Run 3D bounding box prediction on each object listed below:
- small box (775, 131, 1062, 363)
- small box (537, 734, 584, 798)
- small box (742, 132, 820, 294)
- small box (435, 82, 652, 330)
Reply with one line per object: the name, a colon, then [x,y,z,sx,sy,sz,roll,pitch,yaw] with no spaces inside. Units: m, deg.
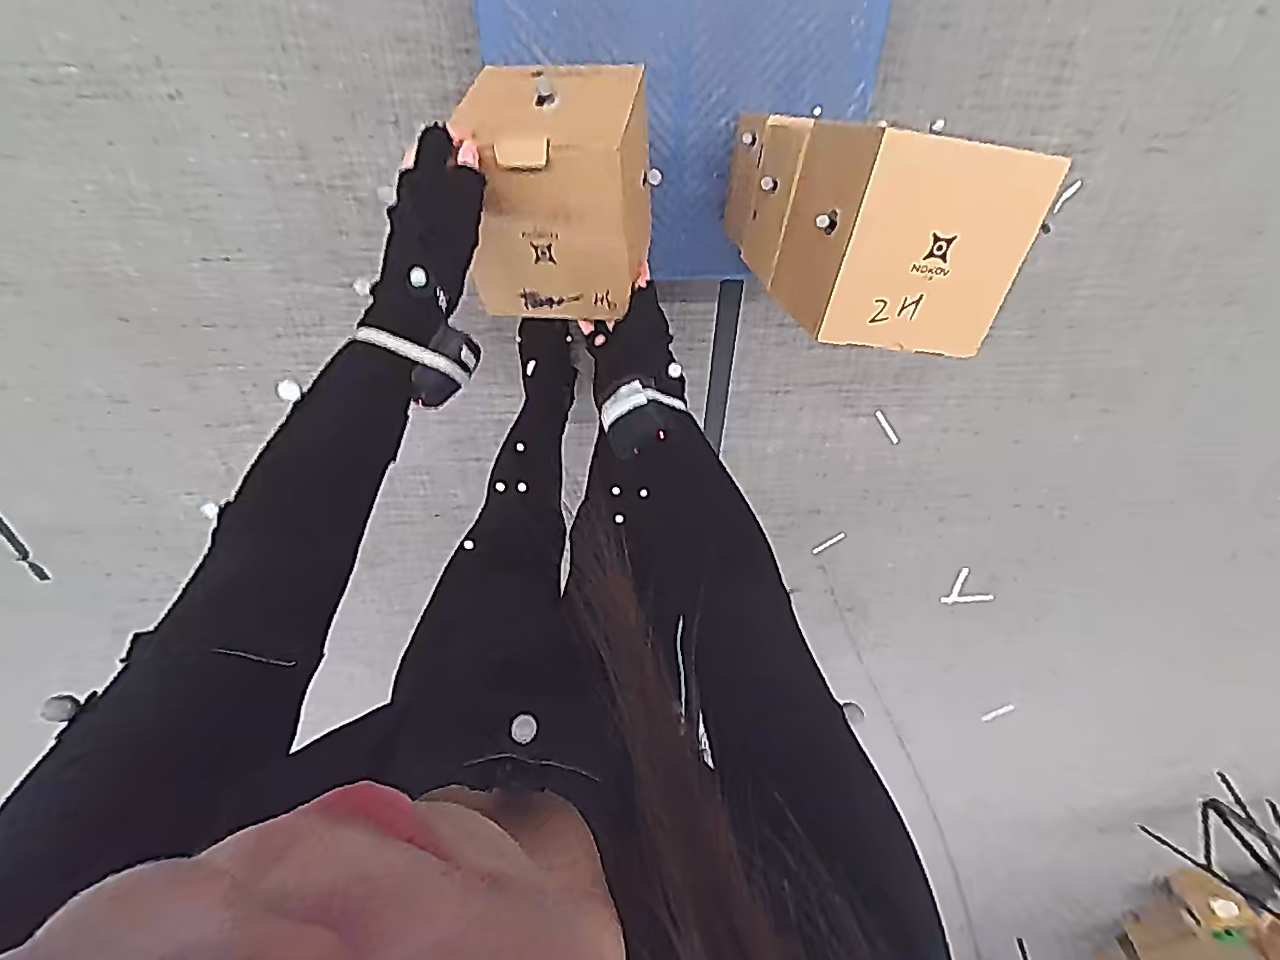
small box: [0.251,-0.238,0.545,0.168,0.176,0.179,5,125,-7]
small box: [-0.310,1.120,2.120,0.168,0.176,0.179,5,126,-6]
small box: [0.241,-0.331,0.681,0.179,0.176,0.168,3,125,-7]
small box: [-0.079,-0.281,0.558,0.168,0.176,0.179,5,147,7]
